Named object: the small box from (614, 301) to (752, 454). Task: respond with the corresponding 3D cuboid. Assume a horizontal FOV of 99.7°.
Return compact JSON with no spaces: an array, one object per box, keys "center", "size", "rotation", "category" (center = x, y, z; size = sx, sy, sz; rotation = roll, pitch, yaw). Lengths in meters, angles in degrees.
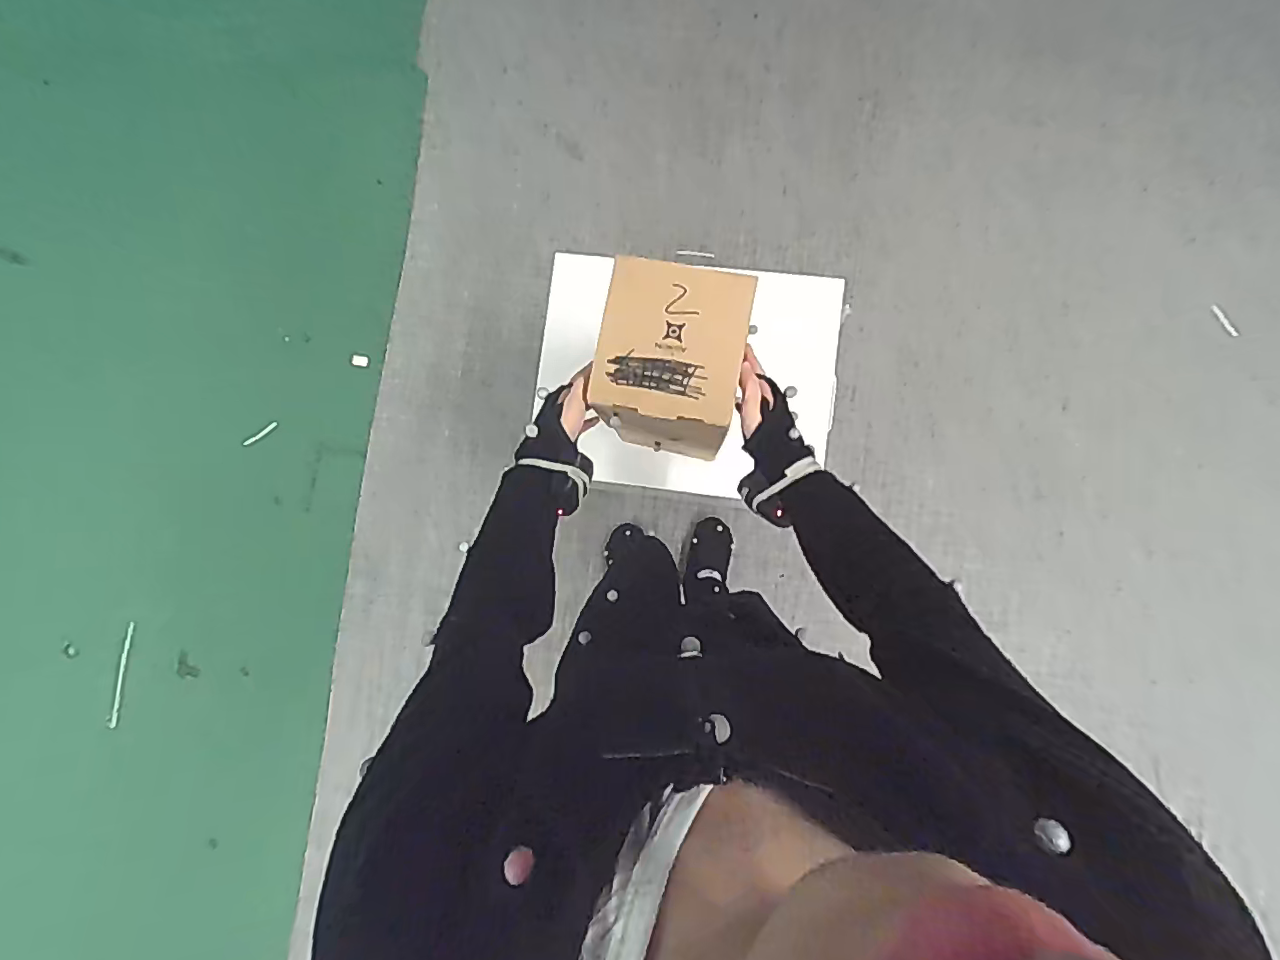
[{"center":[0.065,-0.148,0.838],"size":[0.168,0.176,0.179],"rotation":[13,87,5],"category":"small box"}]
